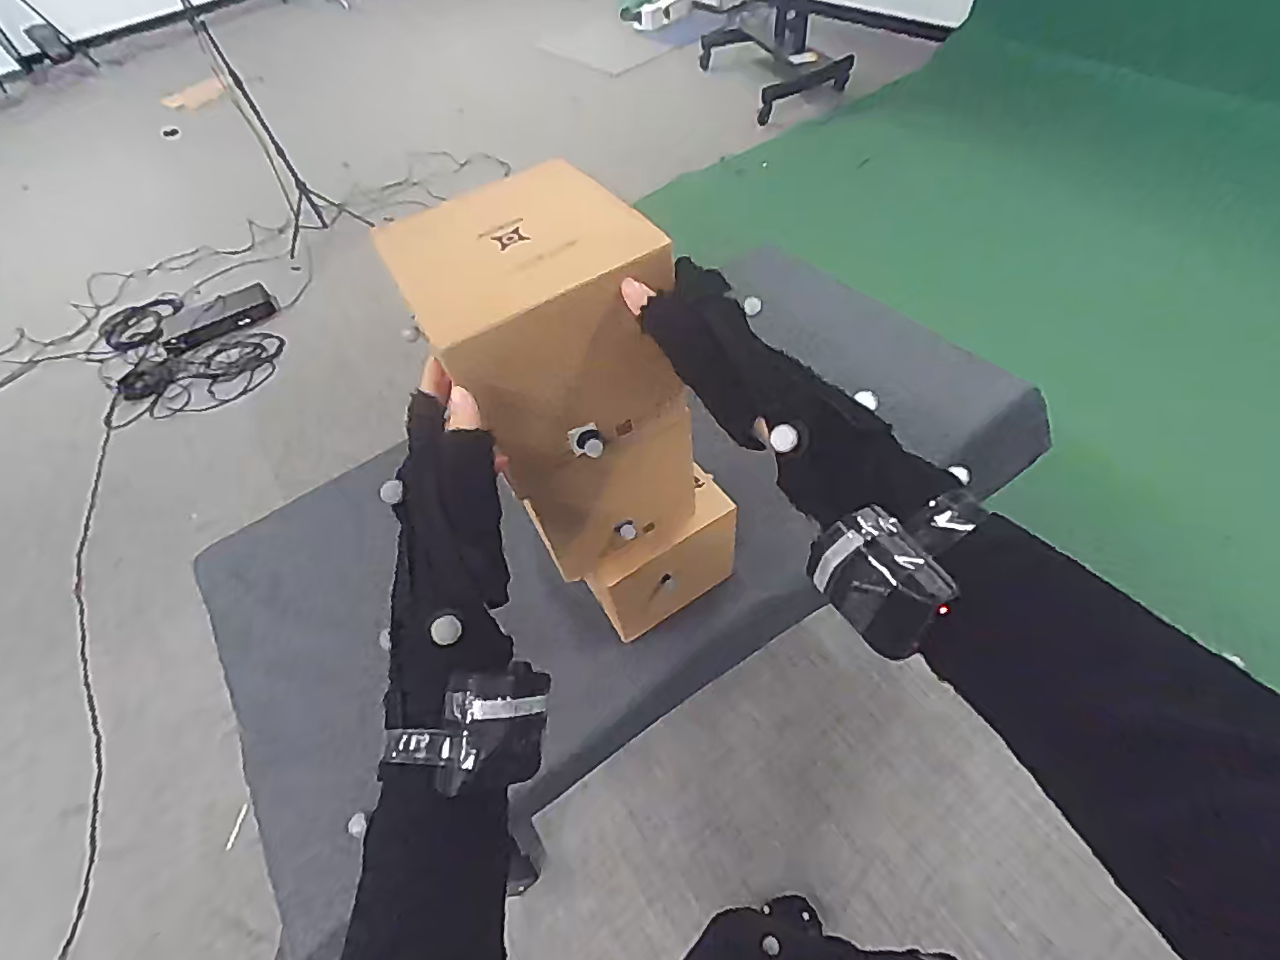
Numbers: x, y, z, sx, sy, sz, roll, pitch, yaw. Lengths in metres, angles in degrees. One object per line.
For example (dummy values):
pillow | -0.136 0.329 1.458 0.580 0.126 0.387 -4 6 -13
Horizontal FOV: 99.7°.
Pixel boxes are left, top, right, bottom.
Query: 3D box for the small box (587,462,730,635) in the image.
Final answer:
small box | 0.003 0.069 0.695 0.179 0.176 0.168 -31 55 -12

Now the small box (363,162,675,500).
small box | -0.087 -0.117 0.439 0.168 0.176 0.179 -30 55 -11

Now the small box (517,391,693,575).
small box | -0.060 -0.033 0.576 0.168 0.176 0.179 -31 53 -14
